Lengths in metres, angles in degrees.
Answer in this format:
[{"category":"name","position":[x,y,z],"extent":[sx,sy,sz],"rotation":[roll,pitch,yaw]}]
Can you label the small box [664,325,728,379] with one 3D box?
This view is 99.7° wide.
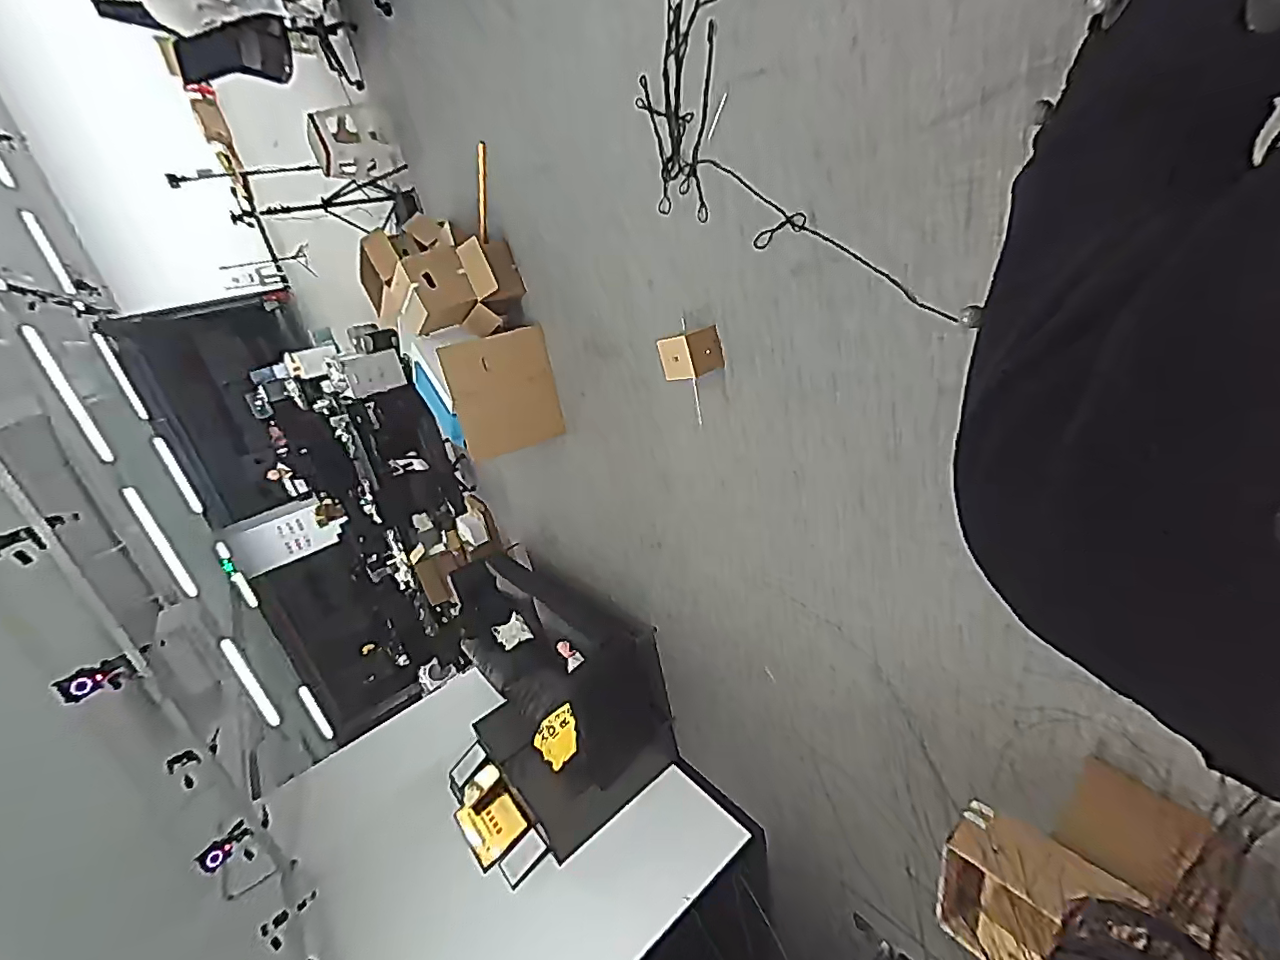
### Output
[{"category":"small box","position":[0.227,-0.505,2.134],"extent":[0.179,0.176,0.168],"rotation":[9,121,55]}]
